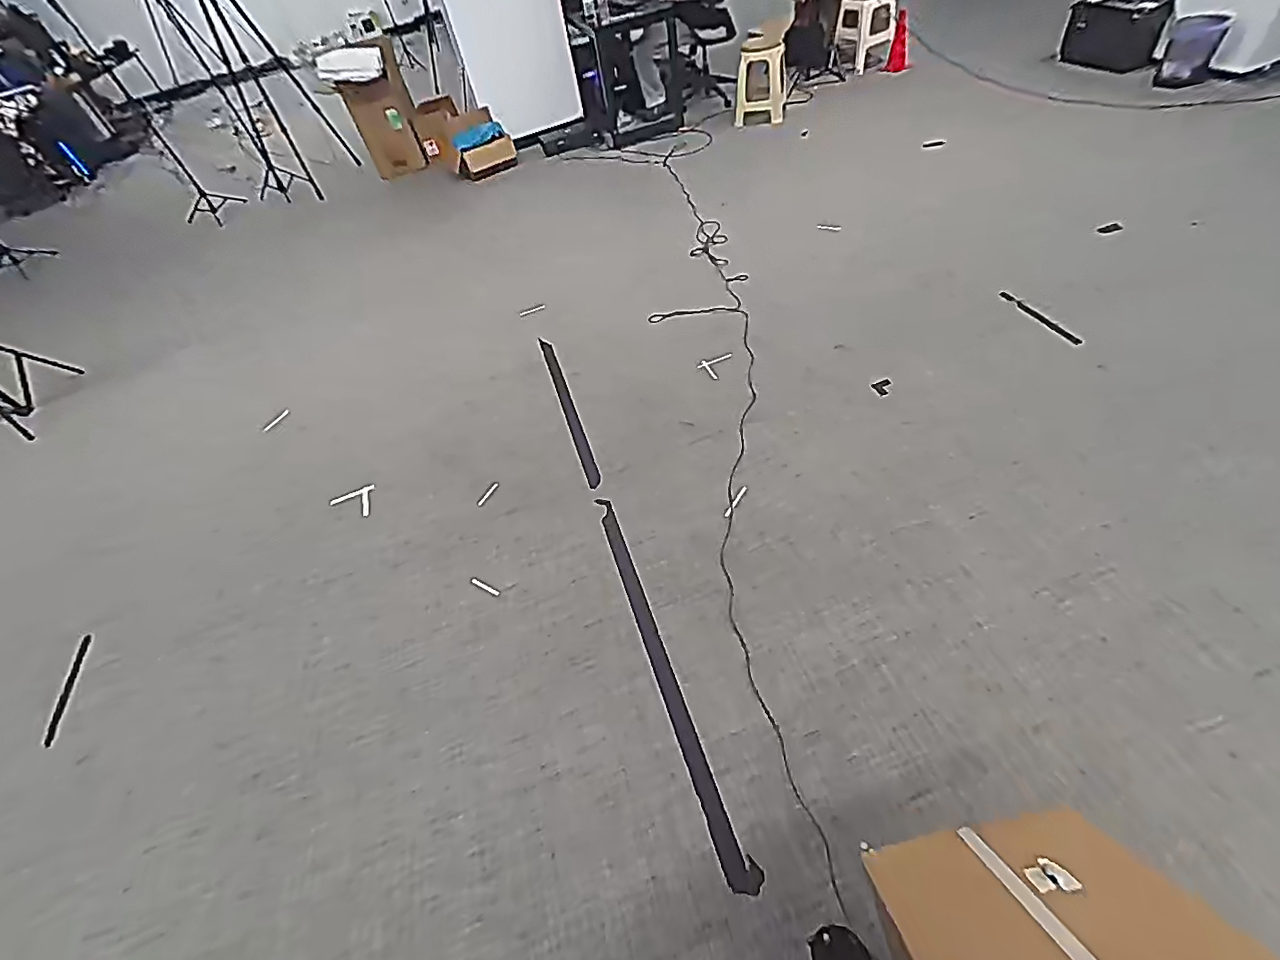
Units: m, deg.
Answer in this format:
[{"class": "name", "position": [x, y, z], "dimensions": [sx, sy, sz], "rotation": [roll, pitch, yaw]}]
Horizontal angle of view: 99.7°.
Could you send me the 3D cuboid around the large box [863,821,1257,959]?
[{"class": "large box", "position": [0.504, 0.663, 0.591], "dimensions": [0.320, 0.408, 0.320], "rotation": [-15, 82, 3]}]
